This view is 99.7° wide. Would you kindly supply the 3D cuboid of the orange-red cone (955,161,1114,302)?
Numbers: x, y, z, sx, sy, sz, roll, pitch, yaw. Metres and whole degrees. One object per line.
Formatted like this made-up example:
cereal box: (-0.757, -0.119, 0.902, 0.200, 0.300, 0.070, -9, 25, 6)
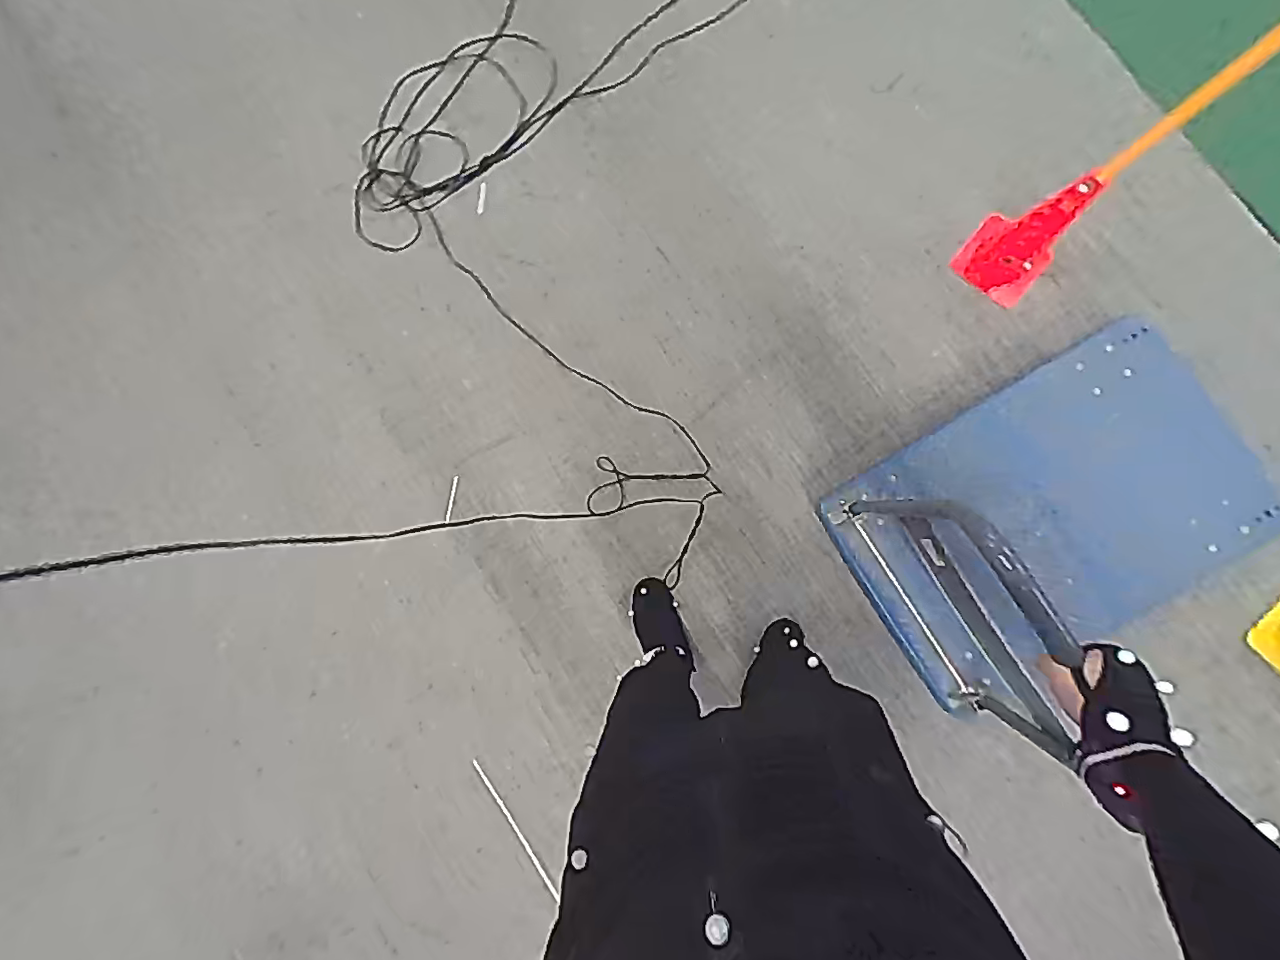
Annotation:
orange-red cone: (0.955, -0.612, 1.271, 0.199, 0.360, 0.198, 41, 88, 8)
